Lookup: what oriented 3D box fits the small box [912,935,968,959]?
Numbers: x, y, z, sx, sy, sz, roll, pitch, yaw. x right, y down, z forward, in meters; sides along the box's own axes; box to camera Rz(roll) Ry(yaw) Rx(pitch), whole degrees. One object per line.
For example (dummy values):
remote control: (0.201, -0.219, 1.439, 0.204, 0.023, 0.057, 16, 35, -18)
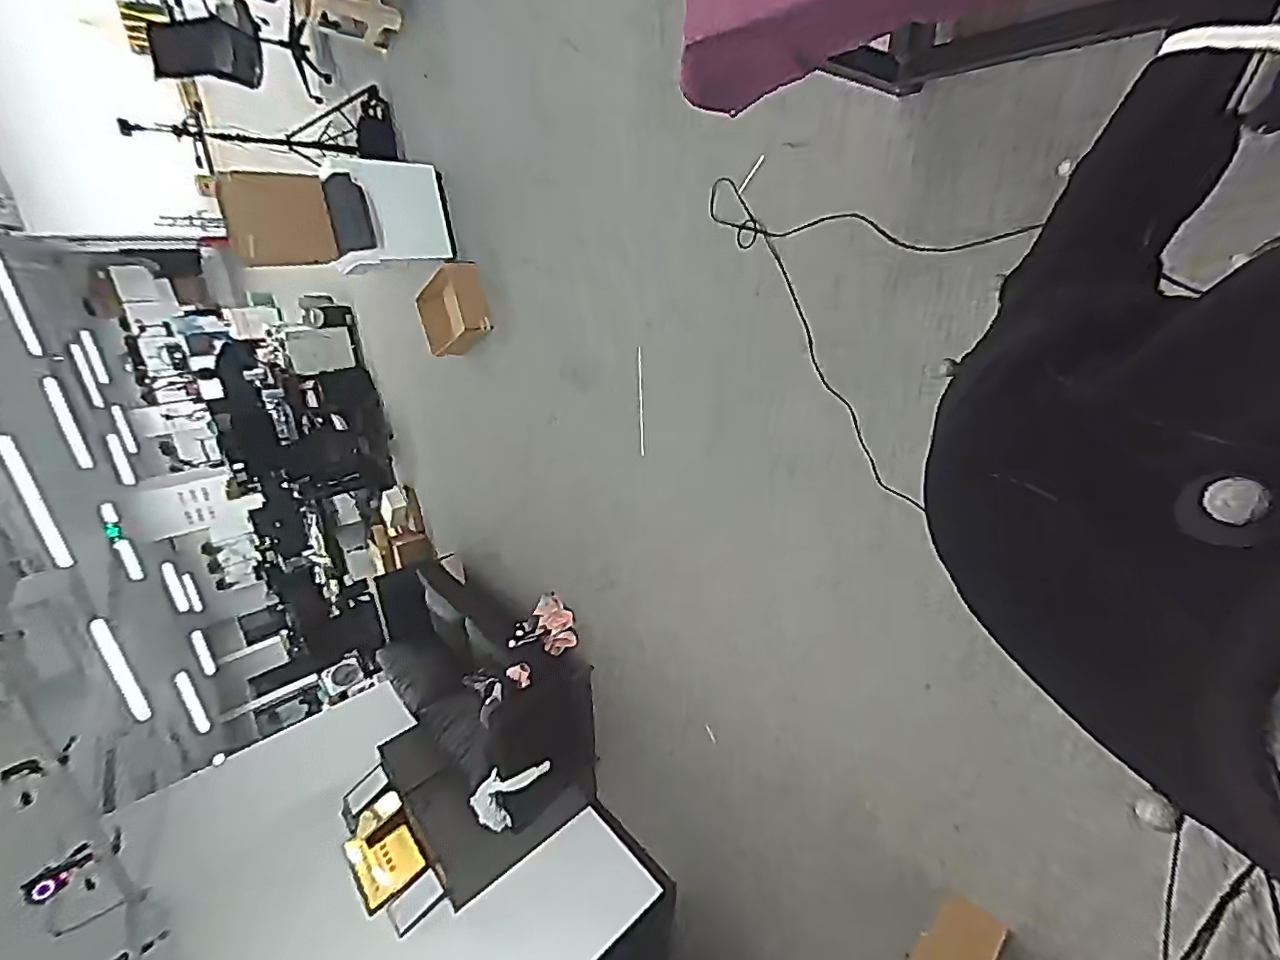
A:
small box: (0.921, 1.545, 1.642, 0.179, 0.176, 0.168, 19, 119, 44)
